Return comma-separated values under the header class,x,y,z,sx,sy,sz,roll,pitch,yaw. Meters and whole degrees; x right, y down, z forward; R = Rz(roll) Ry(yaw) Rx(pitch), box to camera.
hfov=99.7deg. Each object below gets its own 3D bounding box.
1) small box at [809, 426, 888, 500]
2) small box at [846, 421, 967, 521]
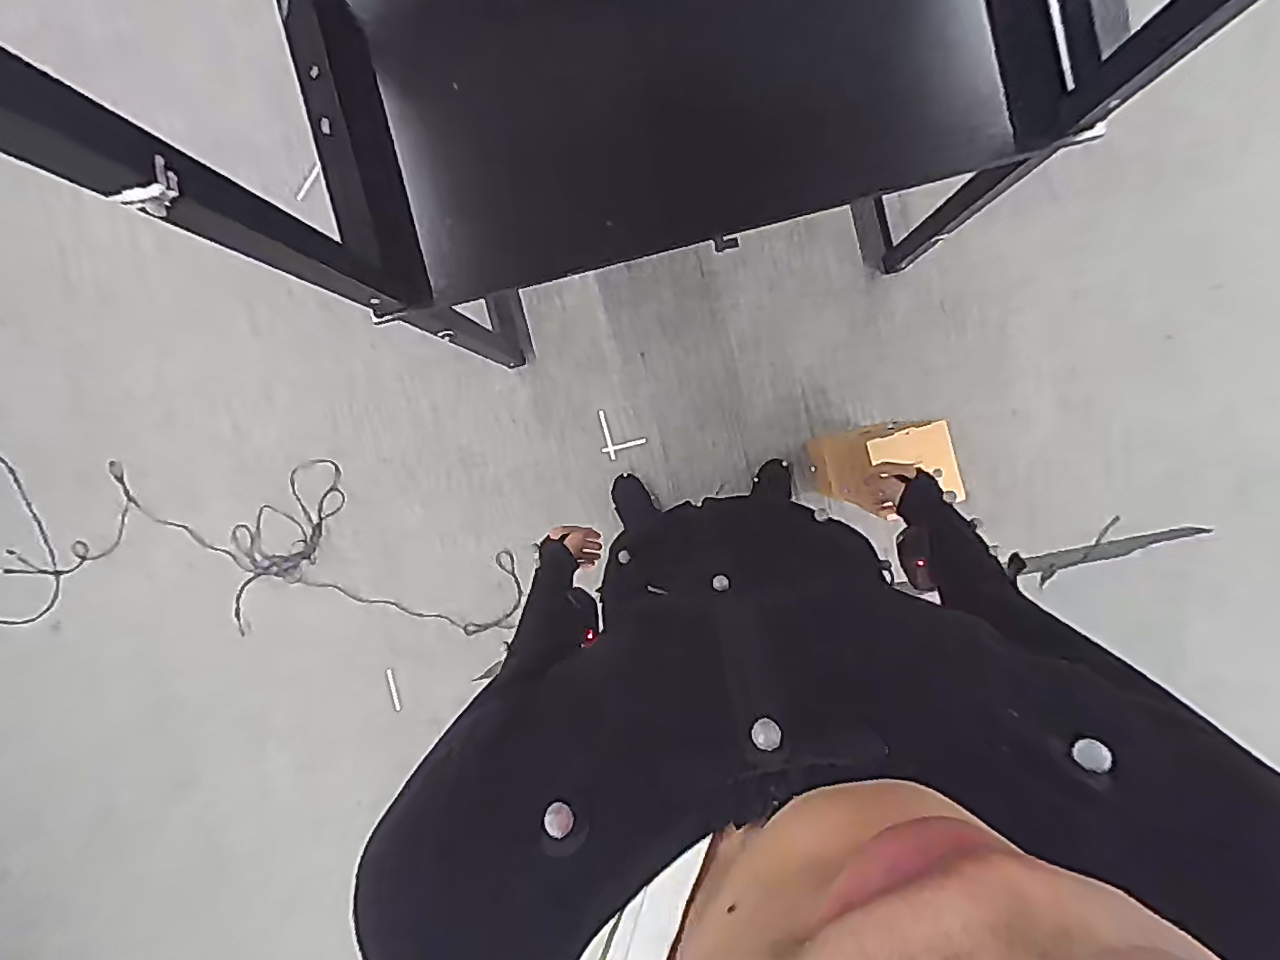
class,x,y,z,sx,sy,sz,roll,pitch,yaw
small box,0.594,-0.052,1.514,0.179,0.176,0.168,-15,93,6
small box,0.576,-0.024,1.188,0.168,0.176,0.179,-17,93,5
